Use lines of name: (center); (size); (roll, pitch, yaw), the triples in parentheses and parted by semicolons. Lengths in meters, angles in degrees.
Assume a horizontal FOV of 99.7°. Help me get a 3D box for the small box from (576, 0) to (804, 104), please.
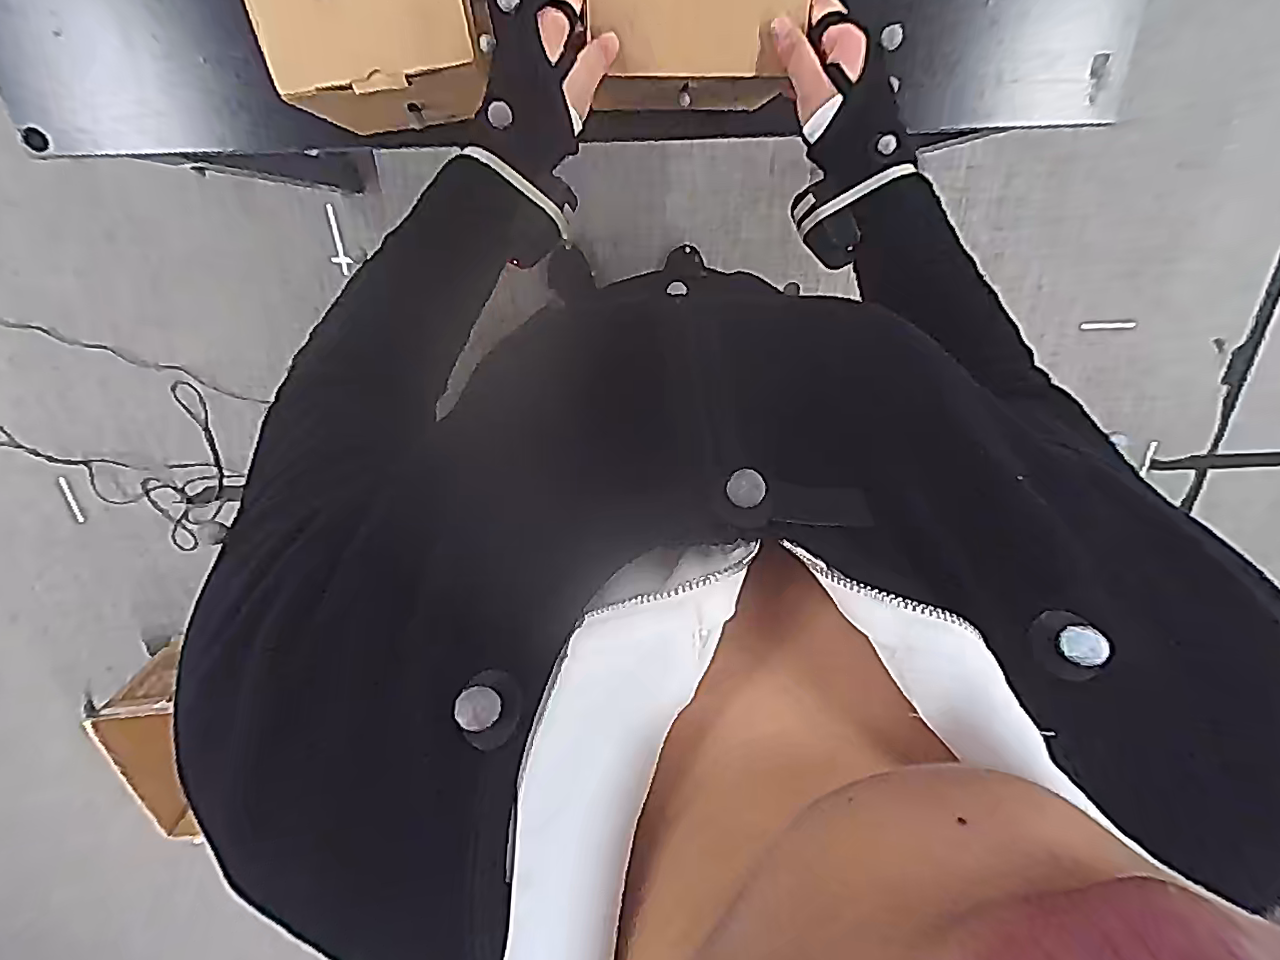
small box: (0.035, -0.434, 0.463); (0.179, 0.176, 0.168); (-2, 117, -3)

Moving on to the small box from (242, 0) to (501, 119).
small box: (-0.233, -0.438, 0.477); (0.168, 0.176, 0.179); (-9, 114, 0)
